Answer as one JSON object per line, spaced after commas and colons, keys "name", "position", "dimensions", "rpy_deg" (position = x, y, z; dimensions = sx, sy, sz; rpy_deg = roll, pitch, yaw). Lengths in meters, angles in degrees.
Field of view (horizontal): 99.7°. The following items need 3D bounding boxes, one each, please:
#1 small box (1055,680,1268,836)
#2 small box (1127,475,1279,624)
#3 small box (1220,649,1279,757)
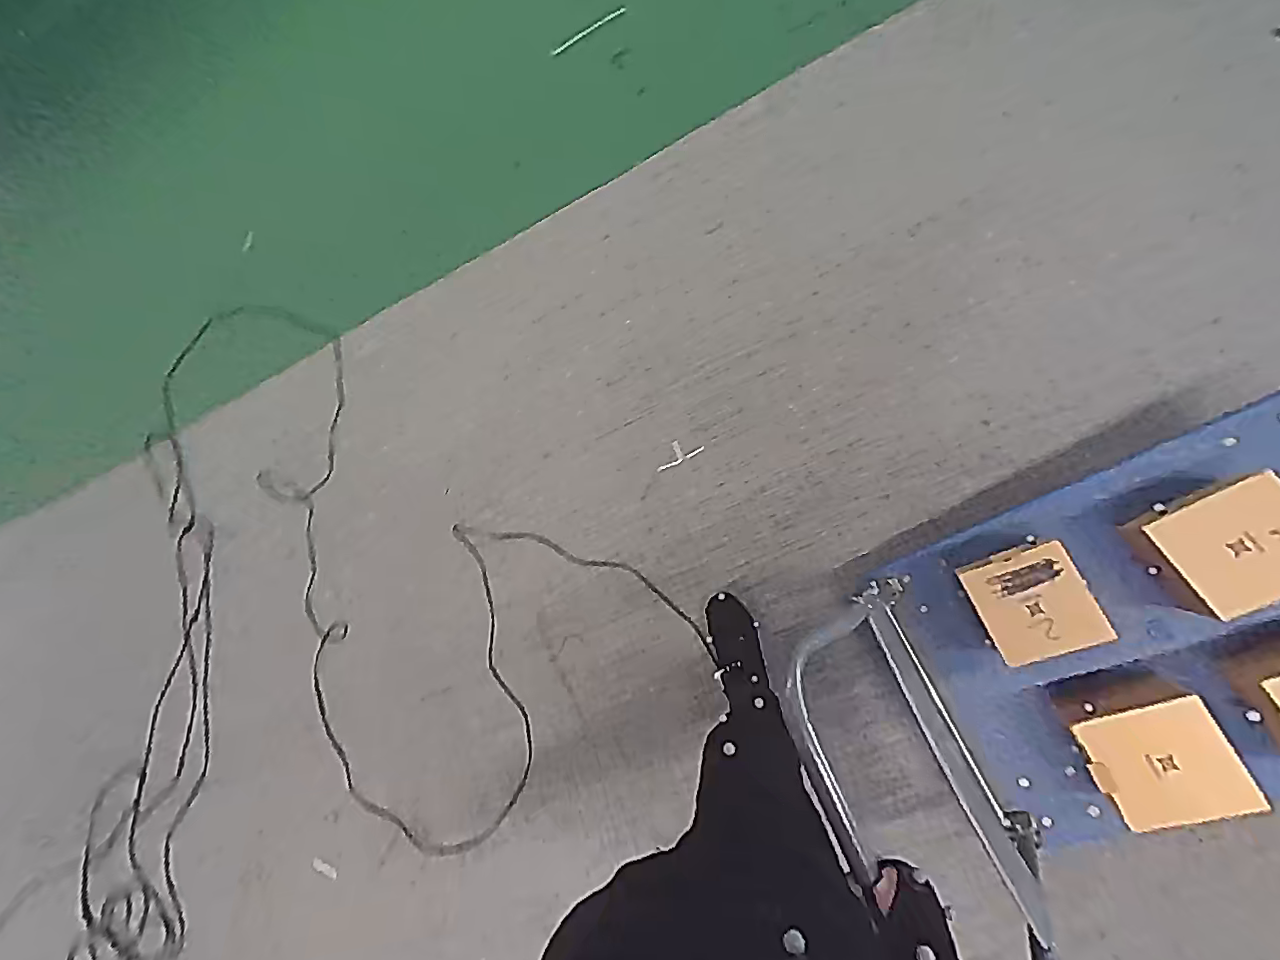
{"name": "small box", "position": [0.829, 0.445, 0.886], "dimensions": [0.179, 0.176, 0.168], "rpy_deg": [-29, 71, 24]}
{"name": "small box", "position": [0.935, 0.112, 0.865], "dimensions": [0.179, 0.176, 0.168], "rpy_deg": [-34, 70, 22]}
{"name": "small box", "position": [1.028, 0.336, 0.784], "dimensions": [0.179, 0.176, 0.168], "rpy_deg": [-32, 69, 23]}
